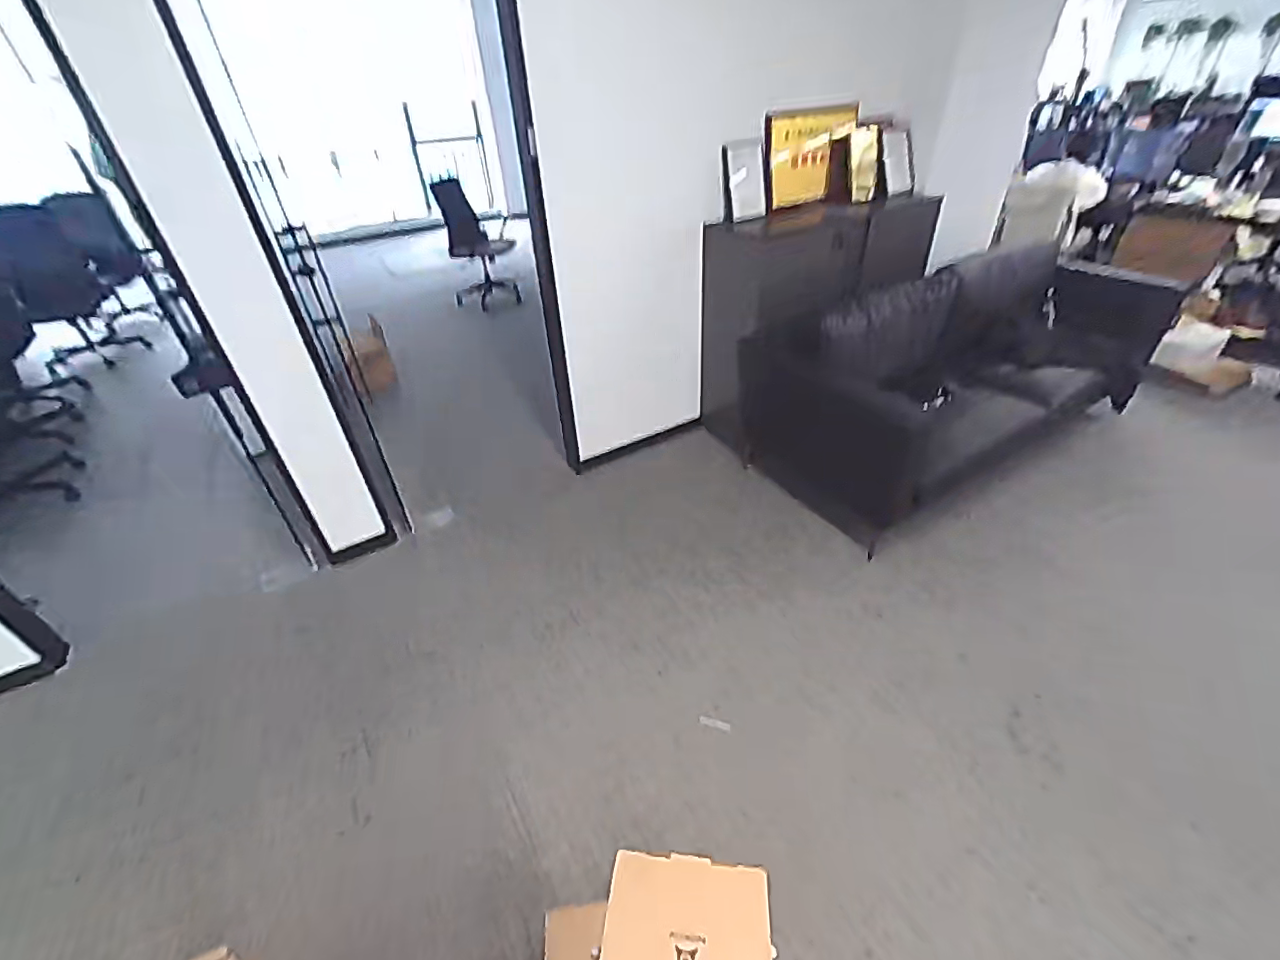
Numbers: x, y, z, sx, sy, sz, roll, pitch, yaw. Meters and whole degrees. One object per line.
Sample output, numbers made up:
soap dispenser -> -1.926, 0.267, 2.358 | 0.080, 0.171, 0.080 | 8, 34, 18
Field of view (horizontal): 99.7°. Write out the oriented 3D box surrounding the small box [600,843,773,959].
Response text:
small box -> 0.044, 0.521, 0.556 | 0.168, 0.176, 0.179 | 4, 30, 7
